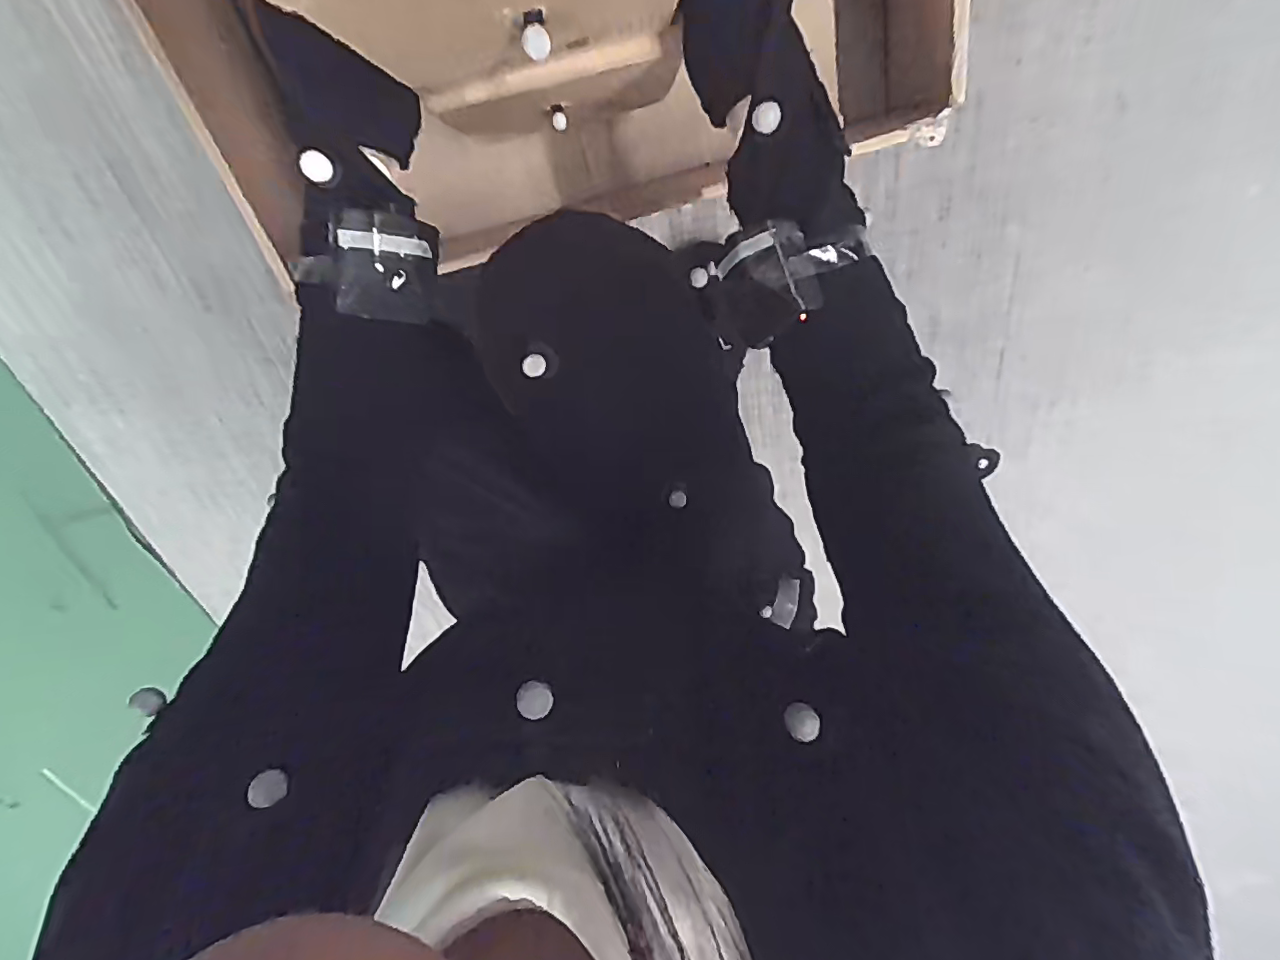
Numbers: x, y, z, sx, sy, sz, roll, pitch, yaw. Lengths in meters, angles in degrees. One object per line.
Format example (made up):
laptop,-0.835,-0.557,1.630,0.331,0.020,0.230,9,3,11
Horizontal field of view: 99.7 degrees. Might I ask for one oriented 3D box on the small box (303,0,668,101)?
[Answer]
small box,-0.081,-0.312,0.262,0.168,0.176,0.179,-15,114,6
